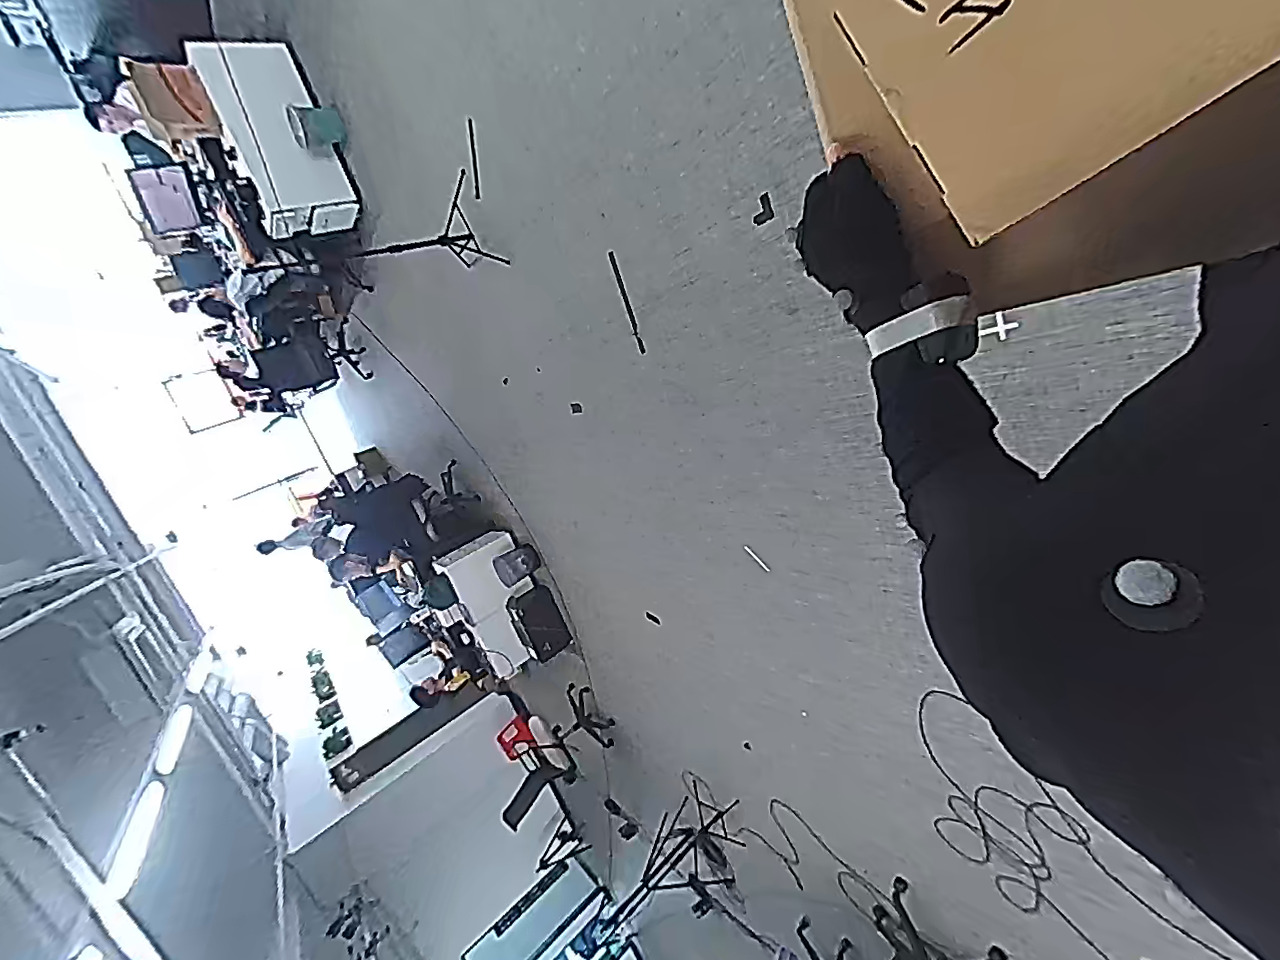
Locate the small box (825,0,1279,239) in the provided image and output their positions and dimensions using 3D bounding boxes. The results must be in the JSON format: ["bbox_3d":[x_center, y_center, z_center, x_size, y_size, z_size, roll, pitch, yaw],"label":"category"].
[{"bbox_3d":[0.219,-0.252,0.250,0.168,0.176,0.179,55,143,-5],"label":"small box"}]
